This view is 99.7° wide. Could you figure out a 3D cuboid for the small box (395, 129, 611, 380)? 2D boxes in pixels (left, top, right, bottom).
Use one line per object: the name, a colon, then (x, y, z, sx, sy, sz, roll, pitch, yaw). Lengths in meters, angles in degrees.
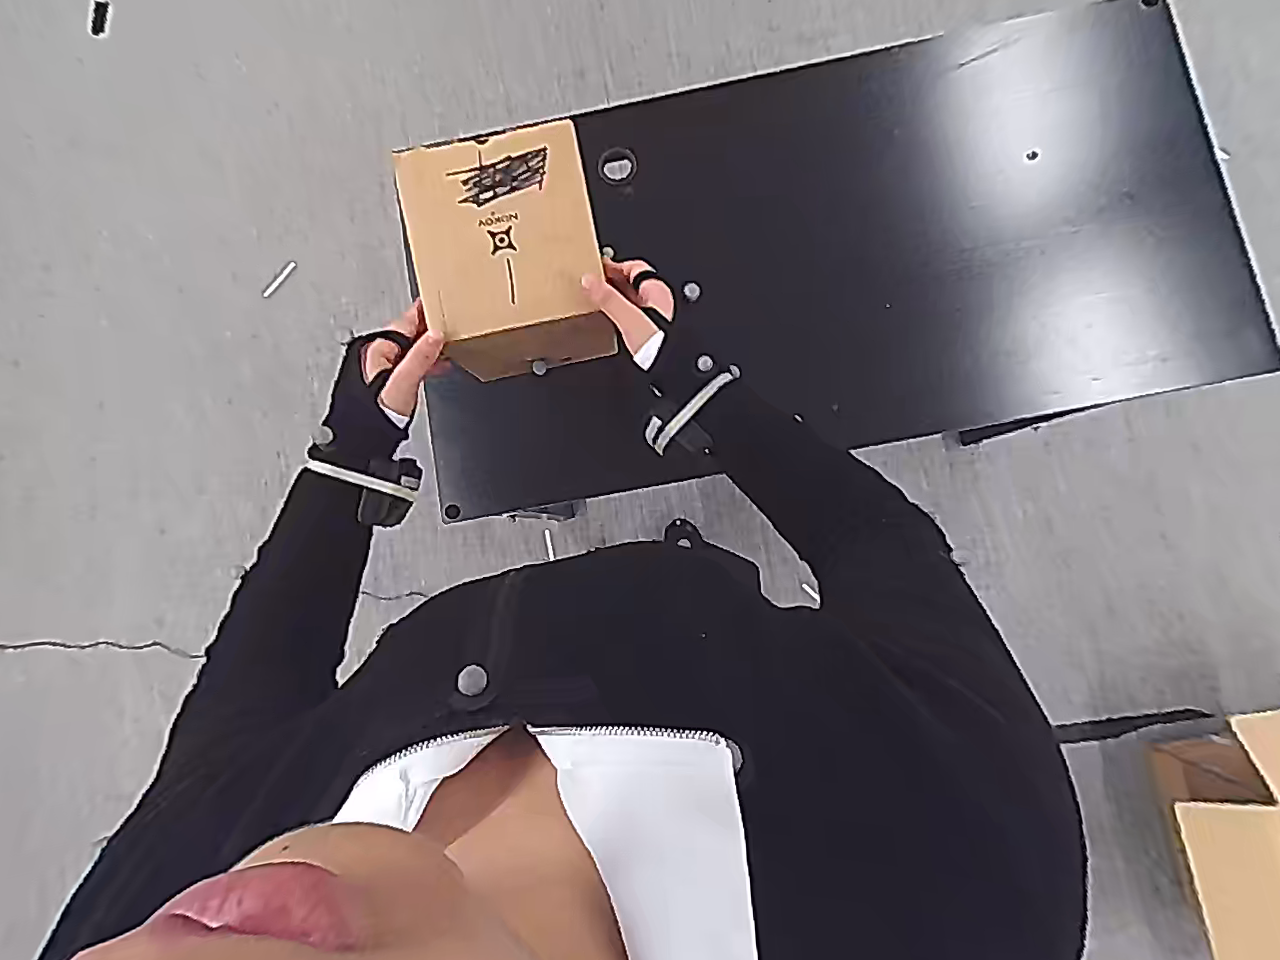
small box: (-0.126, -0.217, 0.563, 0.168, 0.176, 0.179, -12, 91, -1)
